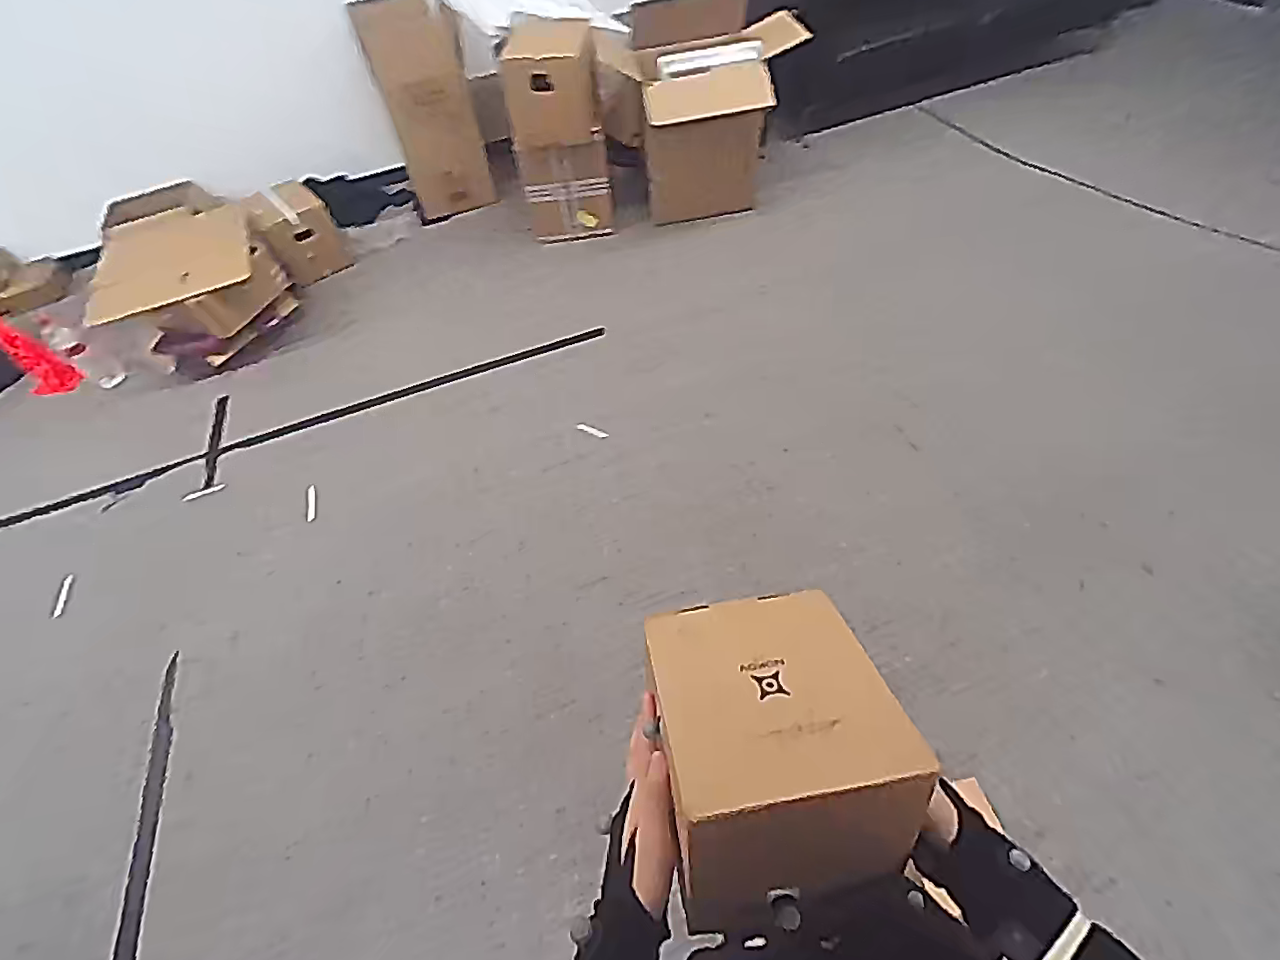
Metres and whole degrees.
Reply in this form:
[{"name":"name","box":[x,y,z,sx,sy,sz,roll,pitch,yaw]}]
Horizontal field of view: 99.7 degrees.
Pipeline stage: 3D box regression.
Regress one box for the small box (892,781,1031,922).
[{"name":"small box","box":[0.544,0.673,0.981,0.168,0.176,0.179,-13,53,-2]}]

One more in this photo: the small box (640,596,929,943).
[{"name":"small box","box":[0.097,0.227,0.446,0.168,0.176,0.179,-9,31,-6]}]
